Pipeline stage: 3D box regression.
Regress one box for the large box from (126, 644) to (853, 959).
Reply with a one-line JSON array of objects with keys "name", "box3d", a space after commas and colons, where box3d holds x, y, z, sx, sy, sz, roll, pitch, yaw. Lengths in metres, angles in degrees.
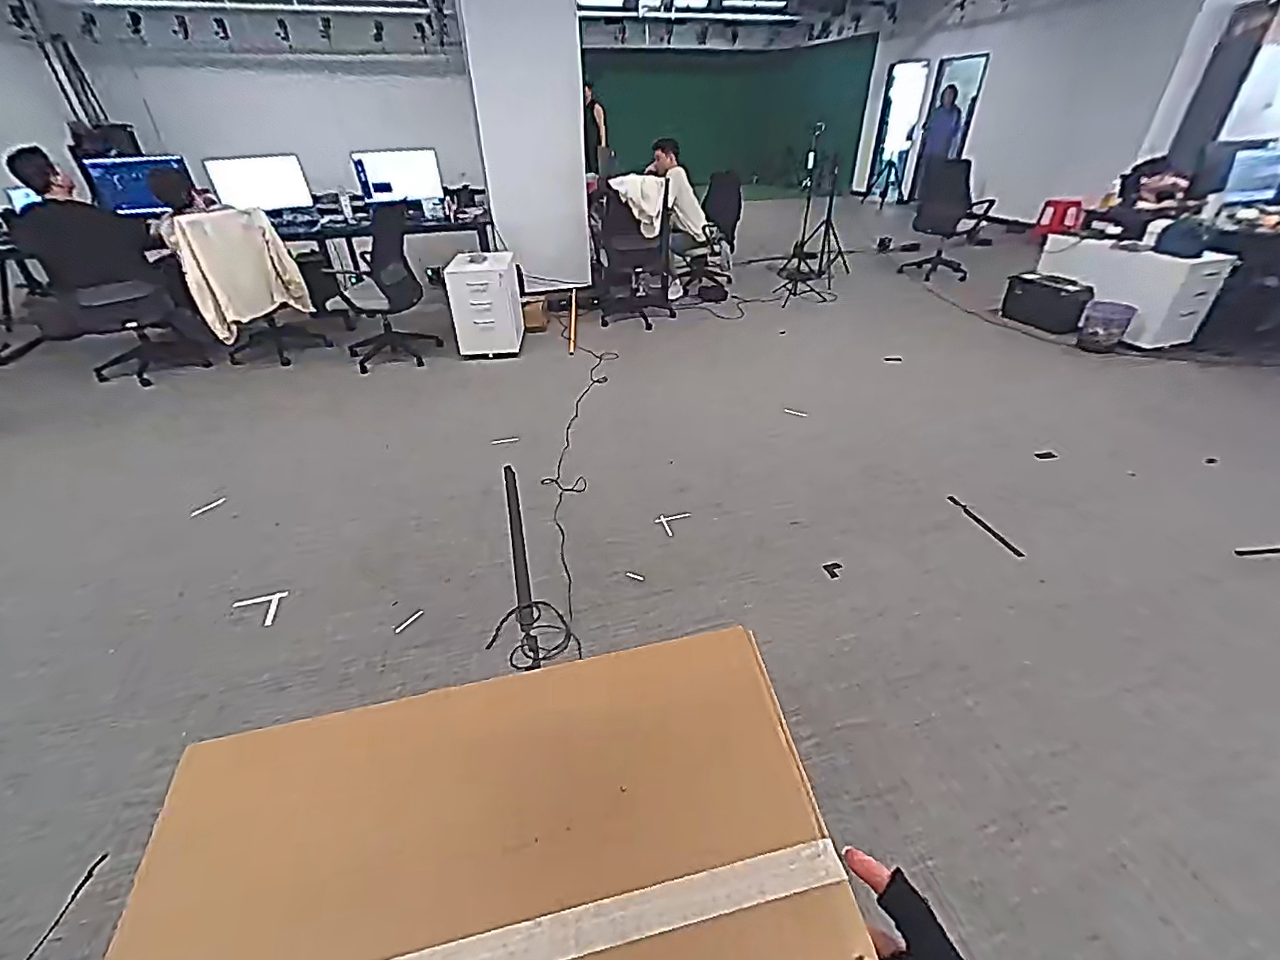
[{"name": "large box", "box3d": [-0.078, 0.372, 0.403, 0.408, 0.320, 0.320, -10, 45, -7]}]
